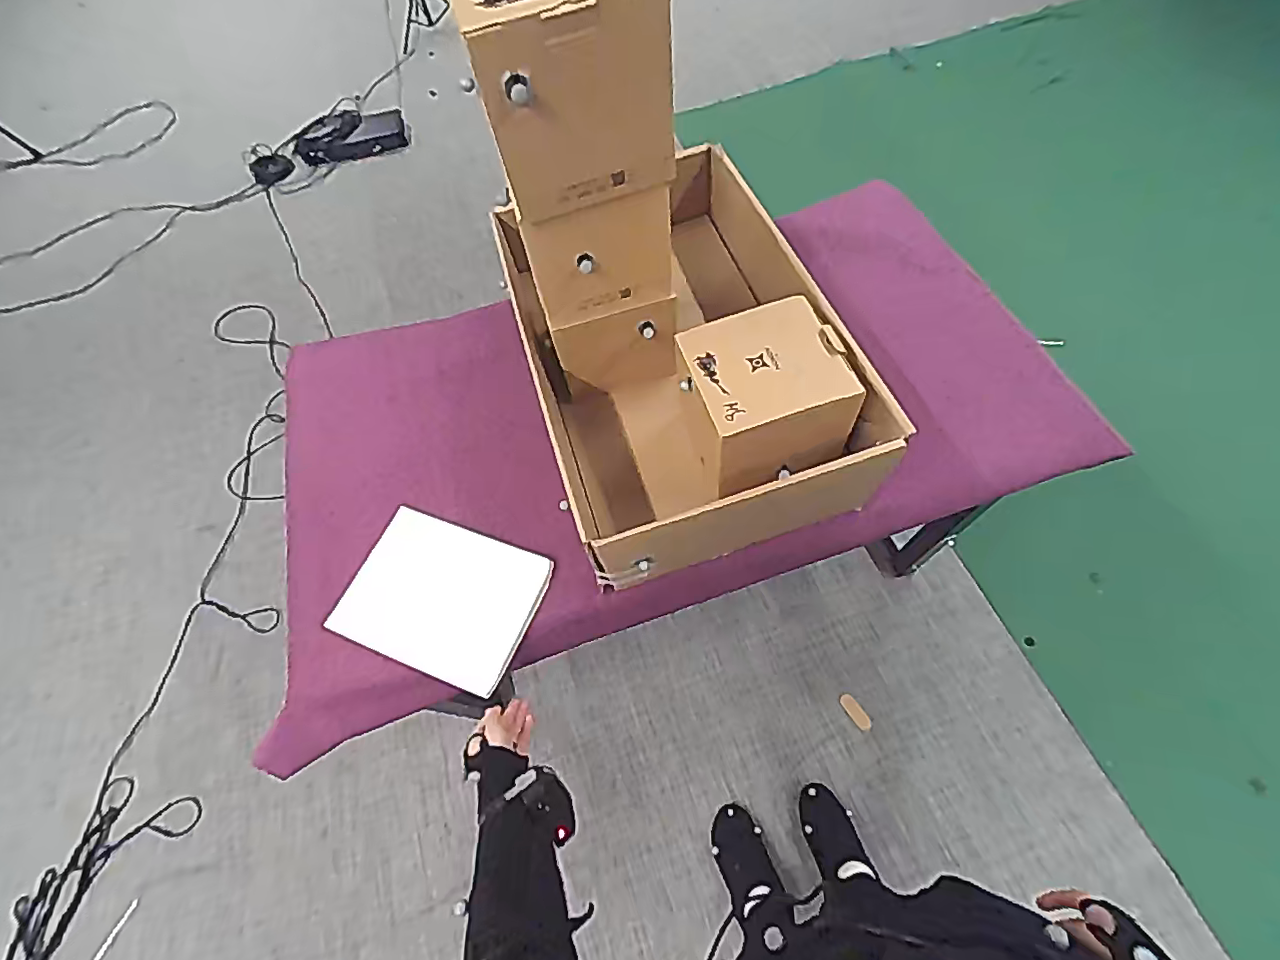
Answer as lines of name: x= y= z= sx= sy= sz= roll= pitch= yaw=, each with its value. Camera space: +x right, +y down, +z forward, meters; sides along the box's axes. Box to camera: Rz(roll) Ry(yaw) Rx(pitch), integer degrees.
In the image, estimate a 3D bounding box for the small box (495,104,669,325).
small box: x=-0.064 y=-0.318 z=0.675 sx=0.168 sy=0.176 sz=0.179 roll=-16 pitch=63 yaw=-3
